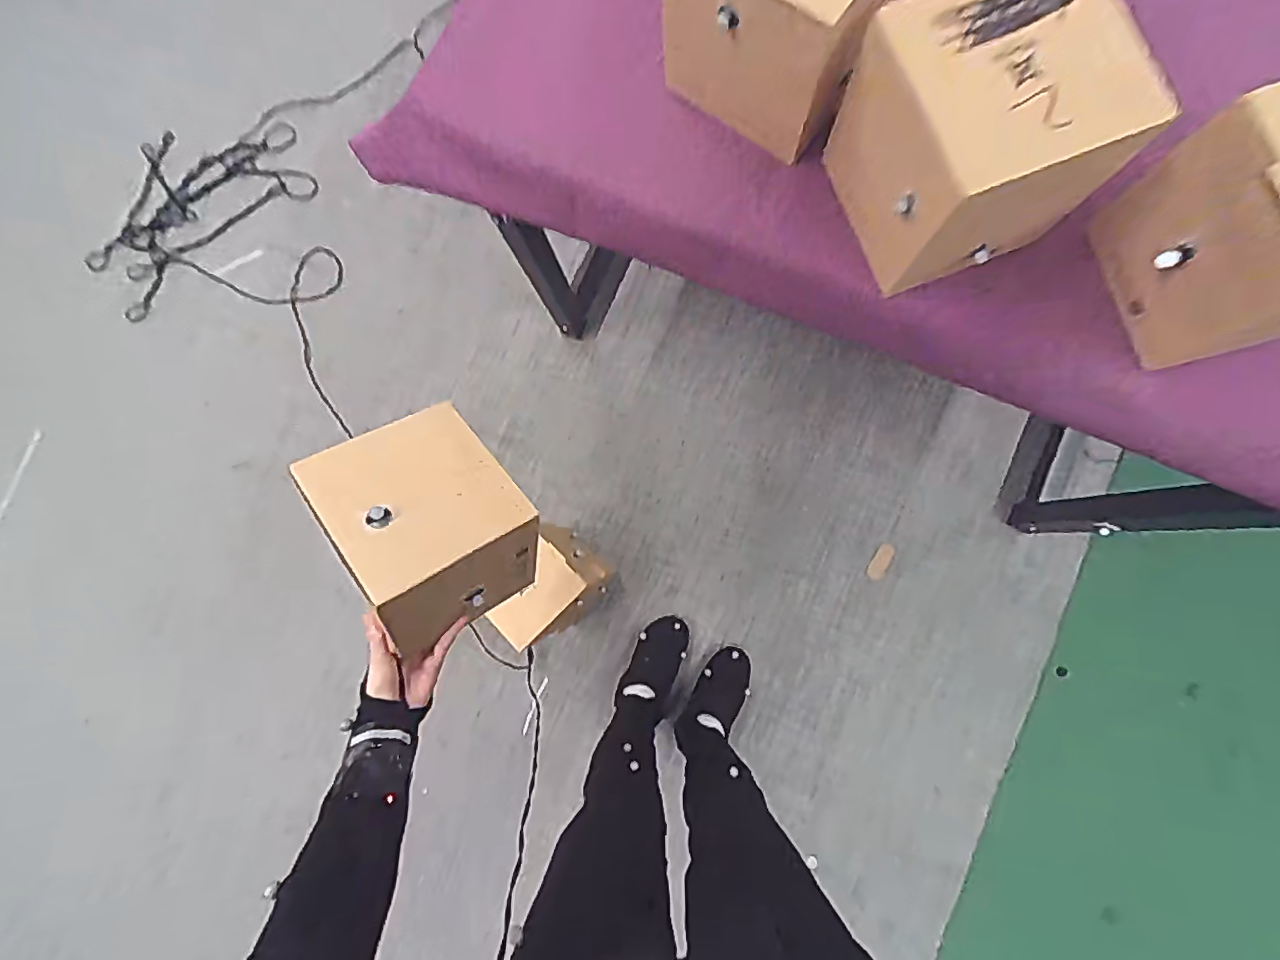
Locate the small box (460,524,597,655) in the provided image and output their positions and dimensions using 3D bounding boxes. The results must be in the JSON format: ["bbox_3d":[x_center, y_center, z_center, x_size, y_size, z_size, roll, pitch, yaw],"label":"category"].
[{"bbox_3d":[-0.205,0.207,1.049,0.179,0.176,0.168,-45,81,-2],"label":"small box"}]

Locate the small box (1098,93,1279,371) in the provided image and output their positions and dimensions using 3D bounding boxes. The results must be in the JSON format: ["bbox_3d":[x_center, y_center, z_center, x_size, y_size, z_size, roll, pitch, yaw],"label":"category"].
[{"bbox_3d":[0.551,-0.211,0.466,0.179,0.176,0.168,-15,81,3],"label":"small box"}]

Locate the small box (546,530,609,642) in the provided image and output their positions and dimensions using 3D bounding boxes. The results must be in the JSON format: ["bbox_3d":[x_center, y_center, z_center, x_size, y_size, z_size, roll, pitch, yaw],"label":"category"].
[{"bbox_3d":[-0.184,0.228,1.207,0.168,0.176,0.179,39,88,8],"label":"small box"}]
